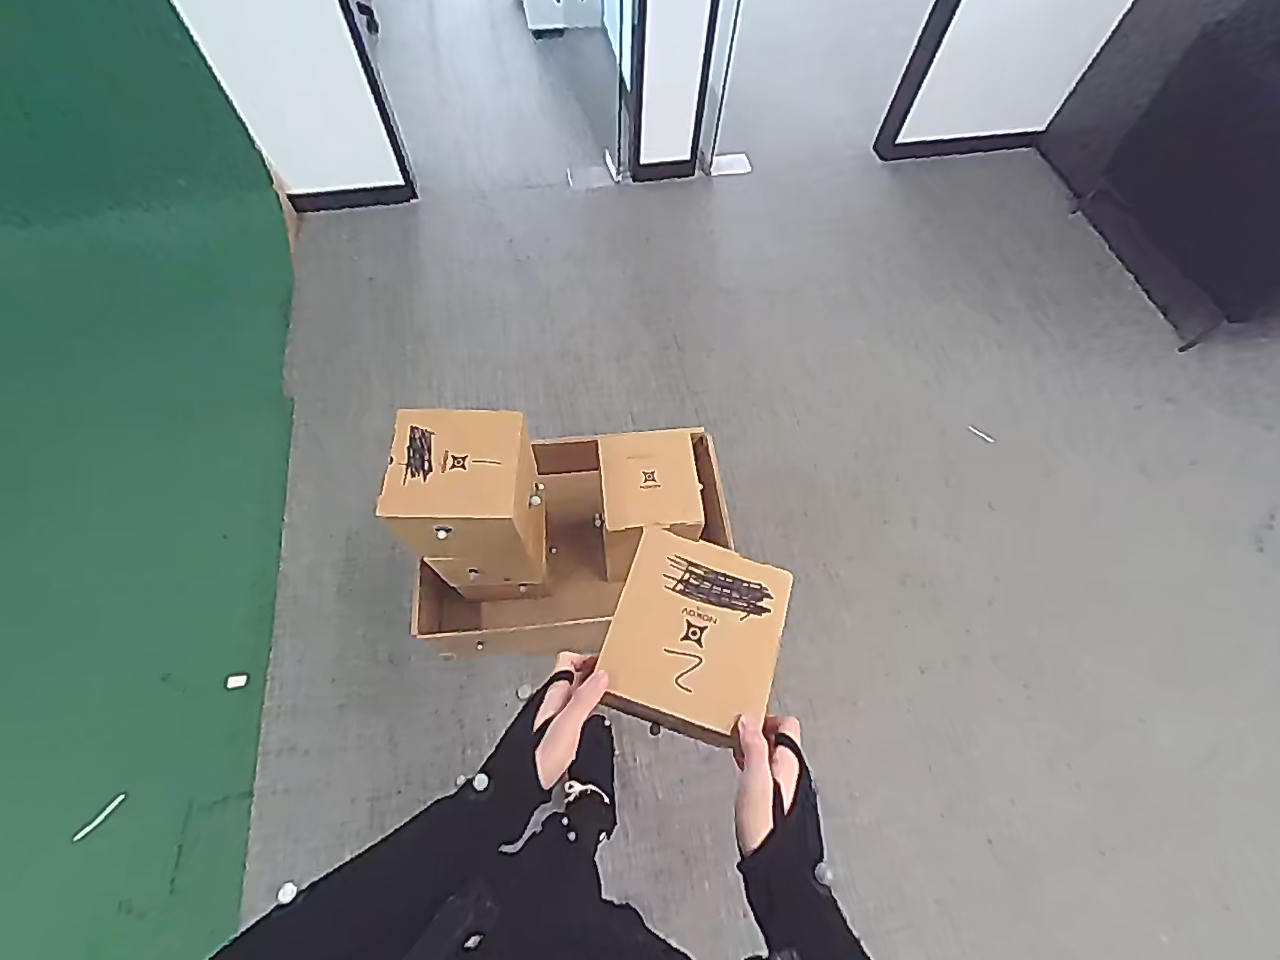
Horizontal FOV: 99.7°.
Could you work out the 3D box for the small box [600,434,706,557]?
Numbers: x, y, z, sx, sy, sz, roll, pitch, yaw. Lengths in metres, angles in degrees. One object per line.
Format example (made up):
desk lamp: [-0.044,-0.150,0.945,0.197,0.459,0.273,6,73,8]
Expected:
small box: [0.017,0.035,0.981,0.168,0.176,0.179,-4,64,-6]

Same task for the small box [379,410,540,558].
small box: [-0.250,0.013,0.797,0.179,0.176,0.168,1,64,-3]

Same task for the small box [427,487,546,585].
small box: [-0.256,0.082,0.947,0.168,0.176,0.179,-2,64,-4]
